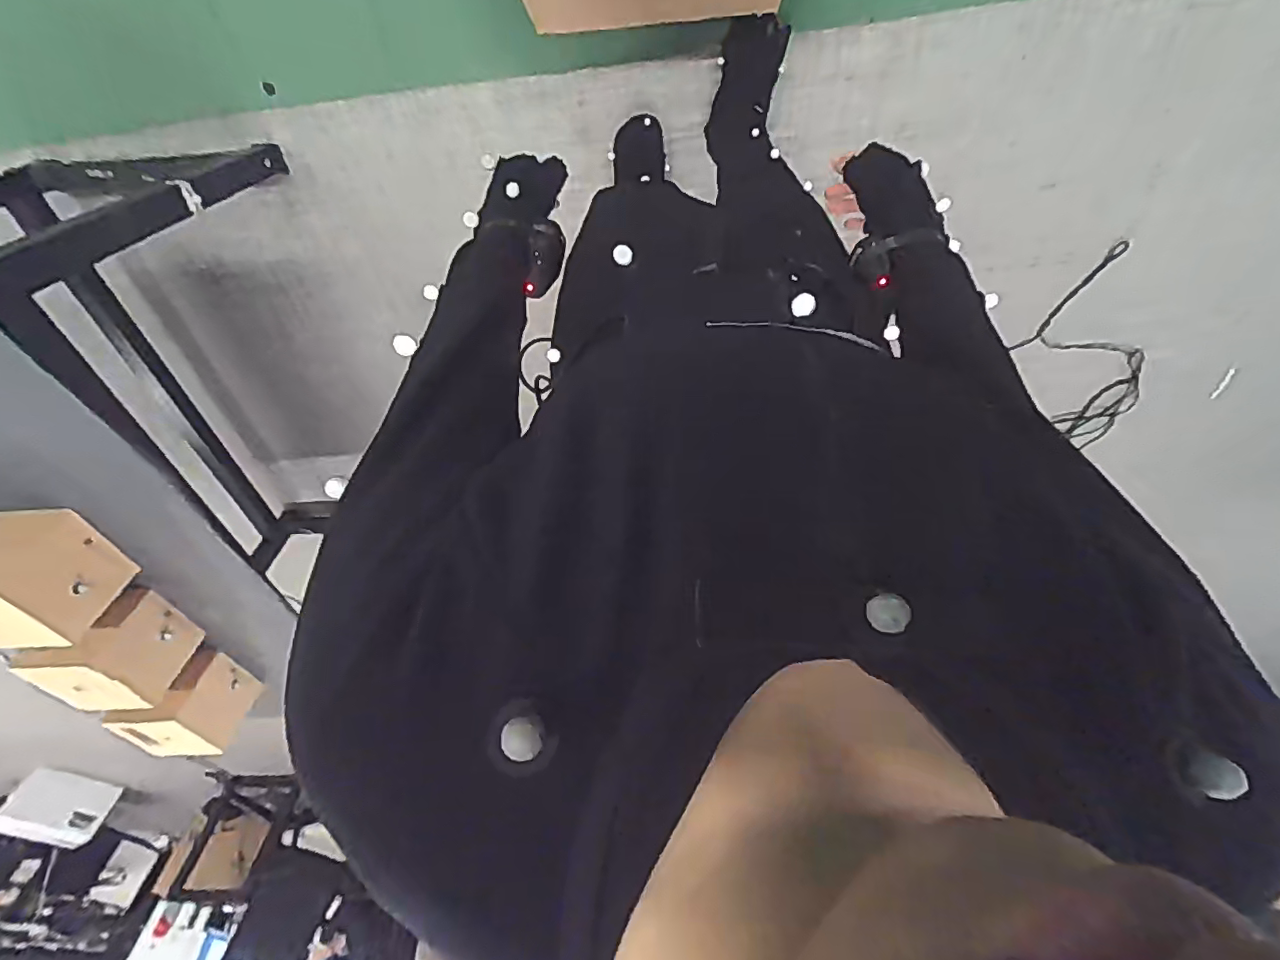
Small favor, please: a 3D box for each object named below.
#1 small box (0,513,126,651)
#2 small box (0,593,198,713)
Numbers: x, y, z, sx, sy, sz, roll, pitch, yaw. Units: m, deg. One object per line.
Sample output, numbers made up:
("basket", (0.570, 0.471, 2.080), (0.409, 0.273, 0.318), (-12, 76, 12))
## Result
("small box", (-1.038, 0.169, 0.913), (0.179, 0.176, 0.168), (-3, 132, 7))
("small box", (-1.041, 0.338, 1.061), (0.179, 0.176, 0.168), (-4, 132, 7))
